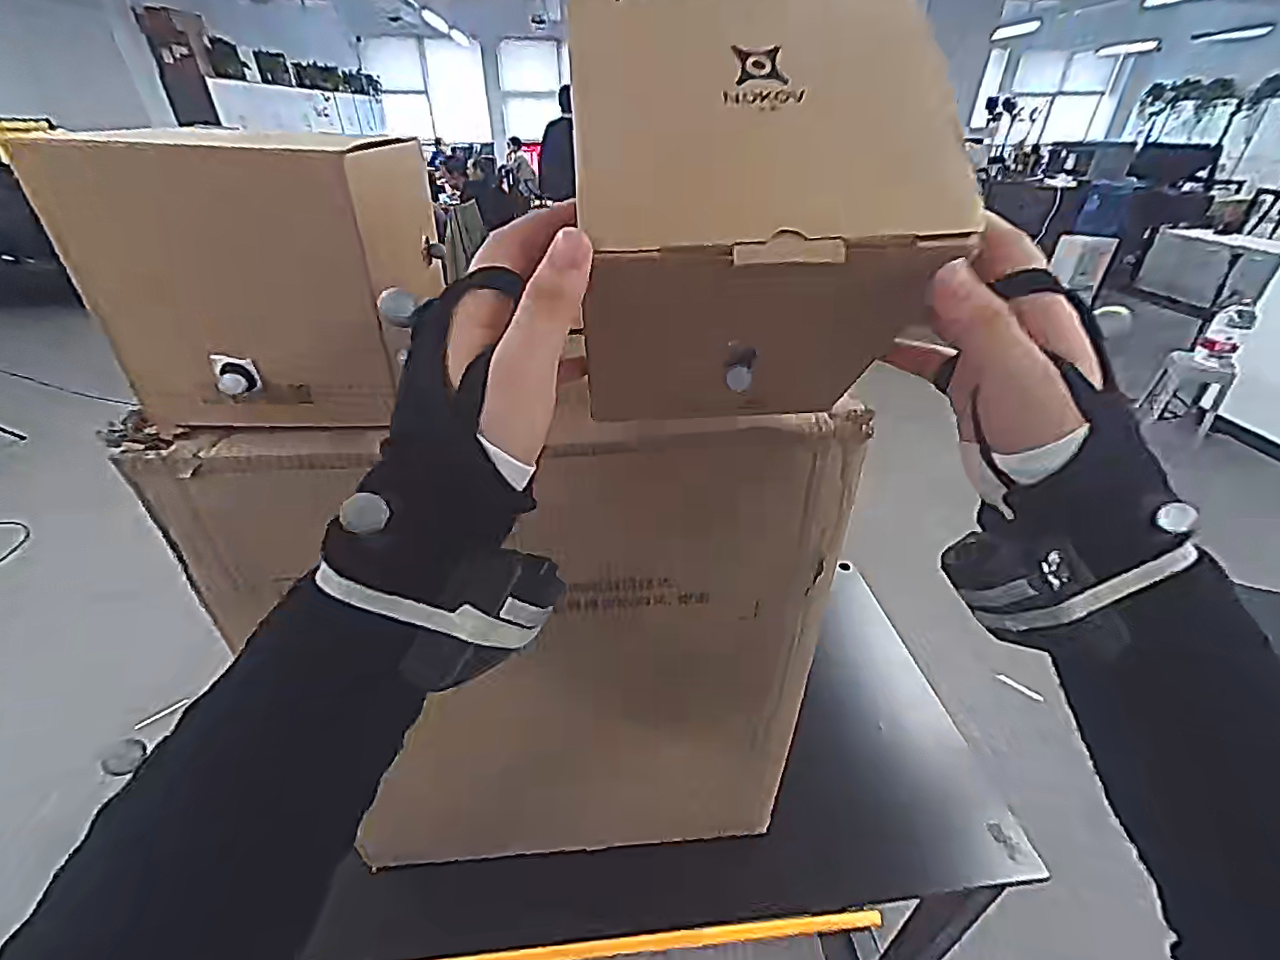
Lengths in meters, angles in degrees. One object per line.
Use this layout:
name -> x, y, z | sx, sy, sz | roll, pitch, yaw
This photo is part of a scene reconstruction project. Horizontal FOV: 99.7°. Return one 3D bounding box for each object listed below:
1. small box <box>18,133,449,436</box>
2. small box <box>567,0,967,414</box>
small box -> -0.246, -0.145, 0.393 | 0.168, 0.176, 0.179 | -2, 35, -6
small box -> 0.048, -0.146, 0.320 | 0.168, 0.176, 0.179 | -3, 73, -3
